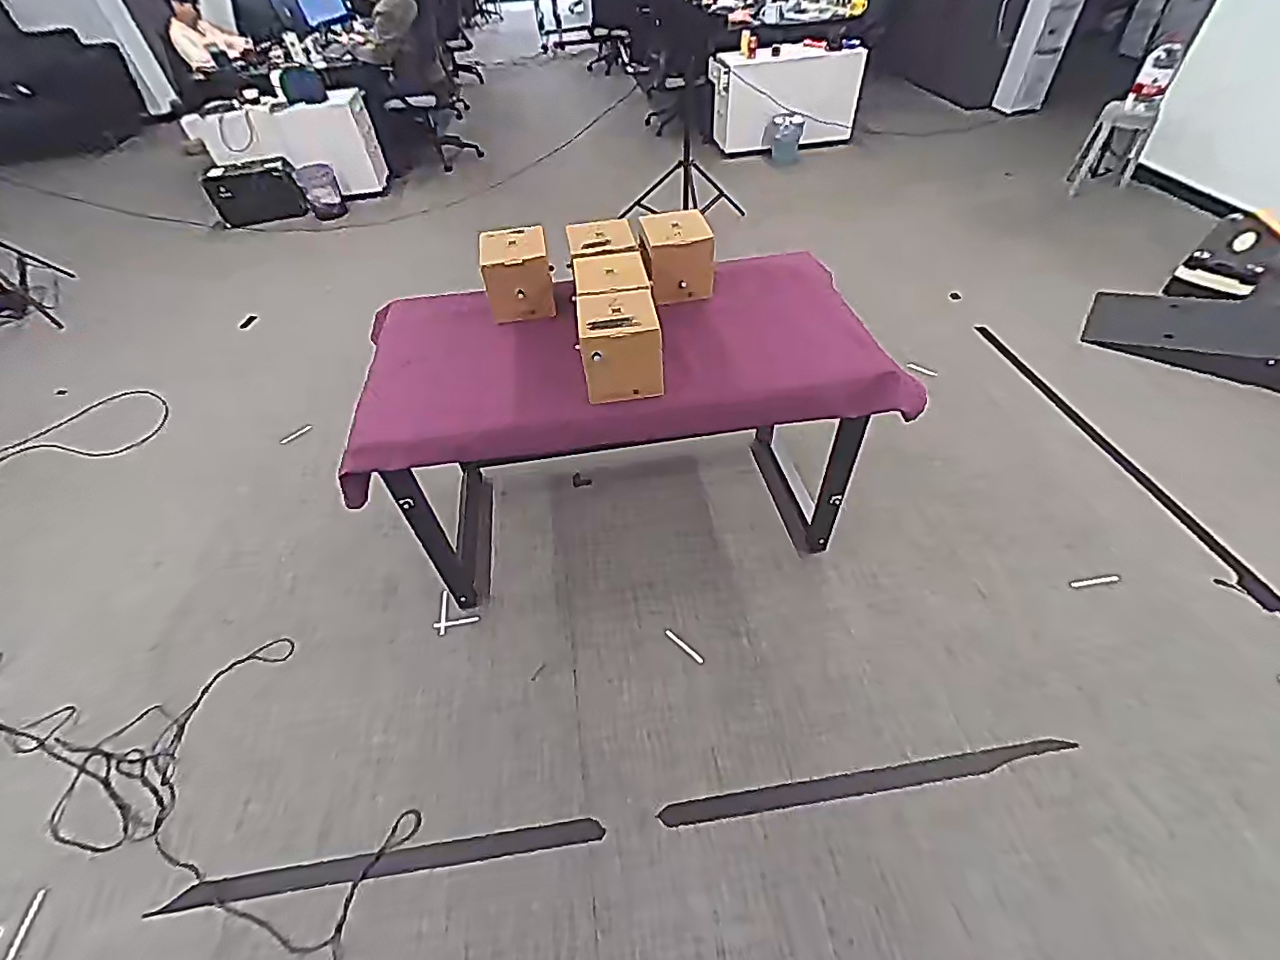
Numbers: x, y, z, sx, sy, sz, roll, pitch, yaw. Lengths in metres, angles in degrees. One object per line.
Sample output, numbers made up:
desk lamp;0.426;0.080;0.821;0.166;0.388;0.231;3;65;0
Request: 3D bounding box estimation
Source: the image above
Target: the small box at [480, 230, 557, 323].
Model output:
small box;-0.320;-0.533;1.434;0.168;0.176;0.179;-9;50;-4
